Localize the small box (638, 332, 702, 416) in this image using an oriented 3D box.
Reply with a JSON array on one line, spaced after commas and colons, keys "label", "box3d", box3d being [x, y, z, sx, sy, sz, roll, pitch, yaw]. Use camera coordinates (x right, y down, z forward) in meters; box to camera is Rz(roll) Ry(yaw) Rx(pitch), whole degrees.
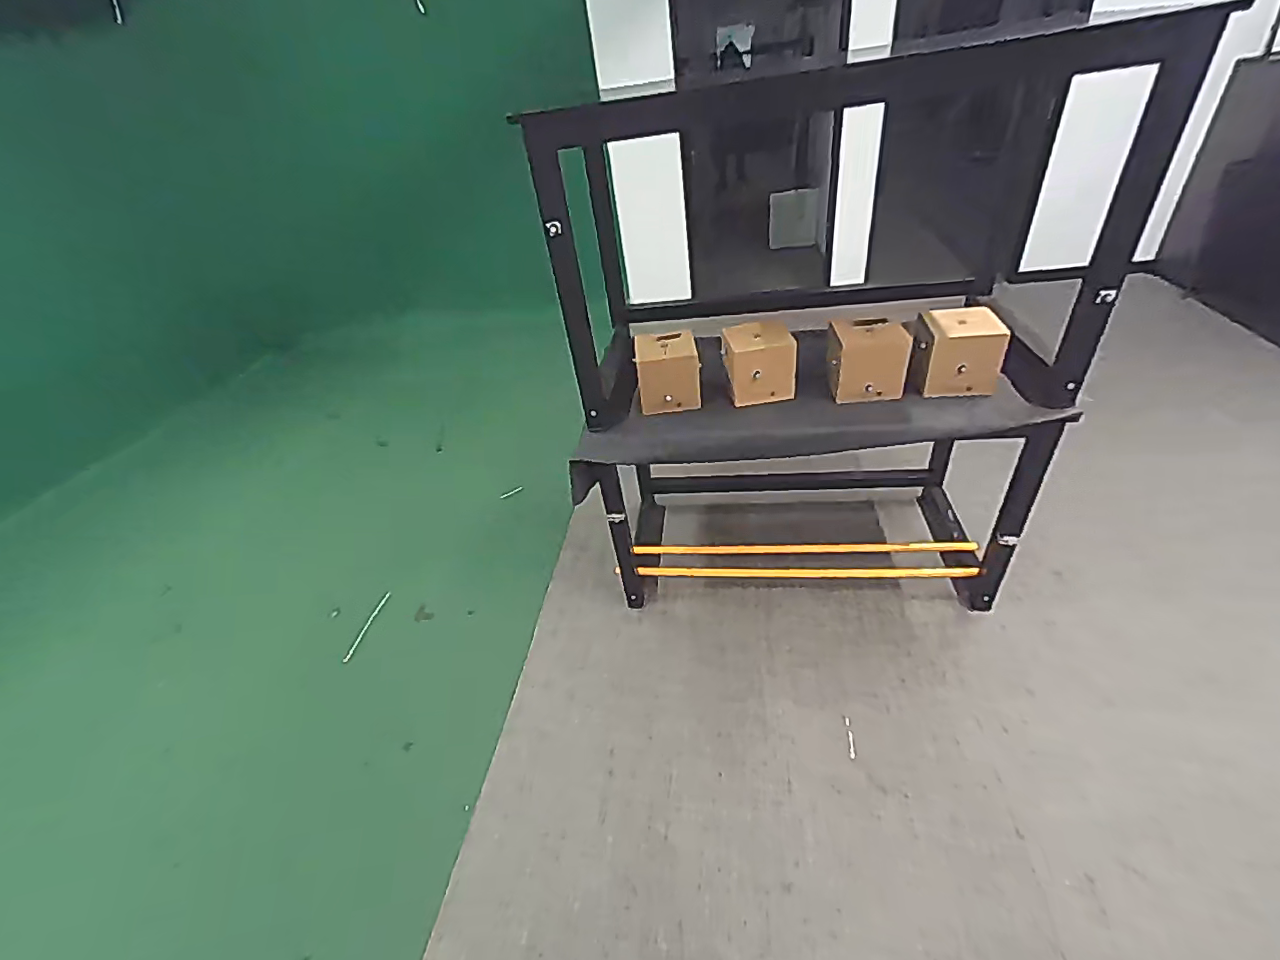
[{"label": "small box", "box3d": [0.085, -0.300, 1.535, 0.168, 0.176, 0.179, -7, 38, 4]}]
